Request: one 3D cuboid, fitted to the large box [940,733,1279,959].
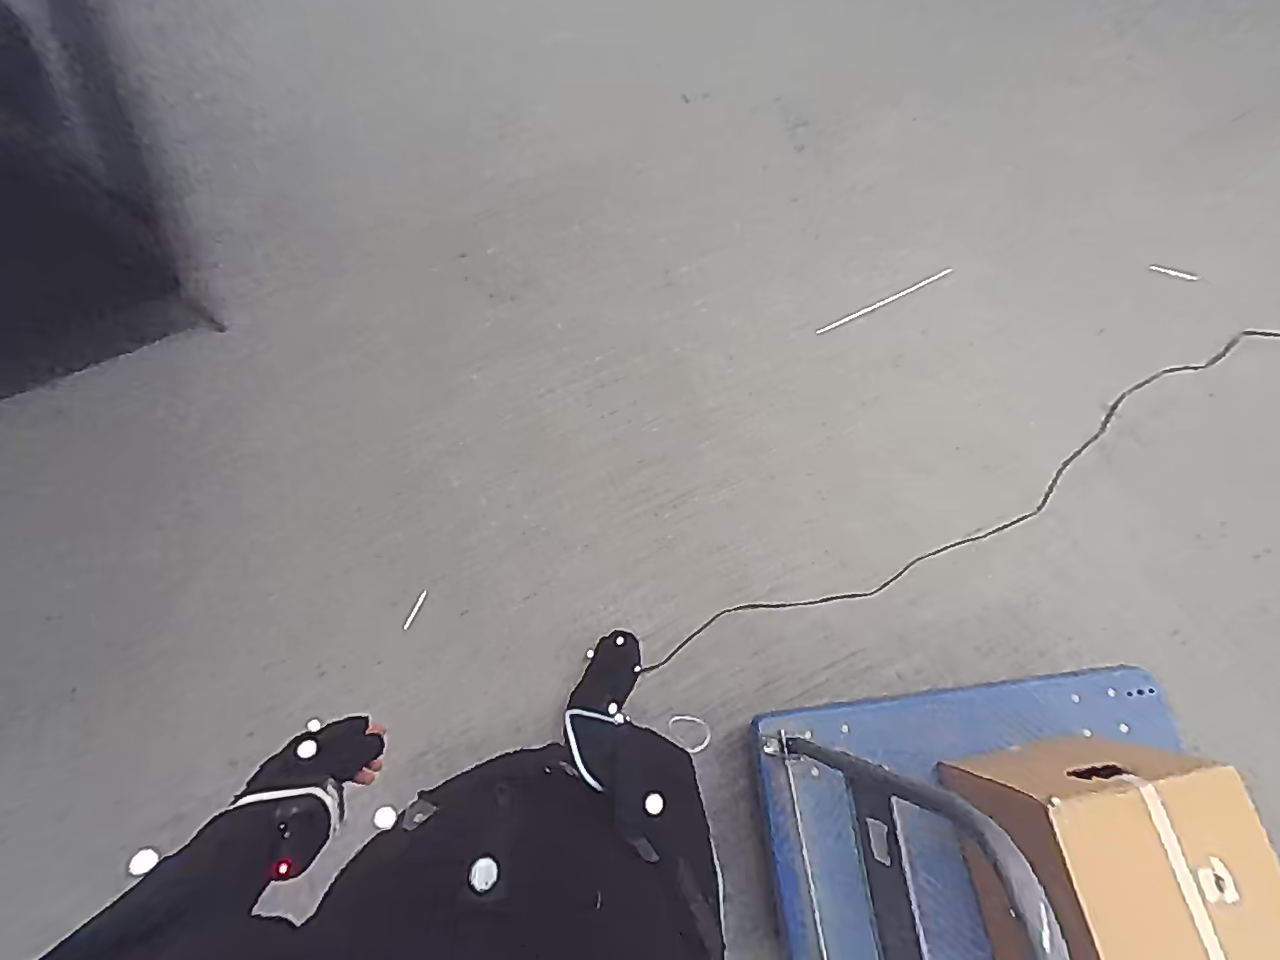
[{"bbox_3d":[0.786,0.685,0.901,0.320,0.320,0.408,-10,72,-5],"label":"large box"}]
